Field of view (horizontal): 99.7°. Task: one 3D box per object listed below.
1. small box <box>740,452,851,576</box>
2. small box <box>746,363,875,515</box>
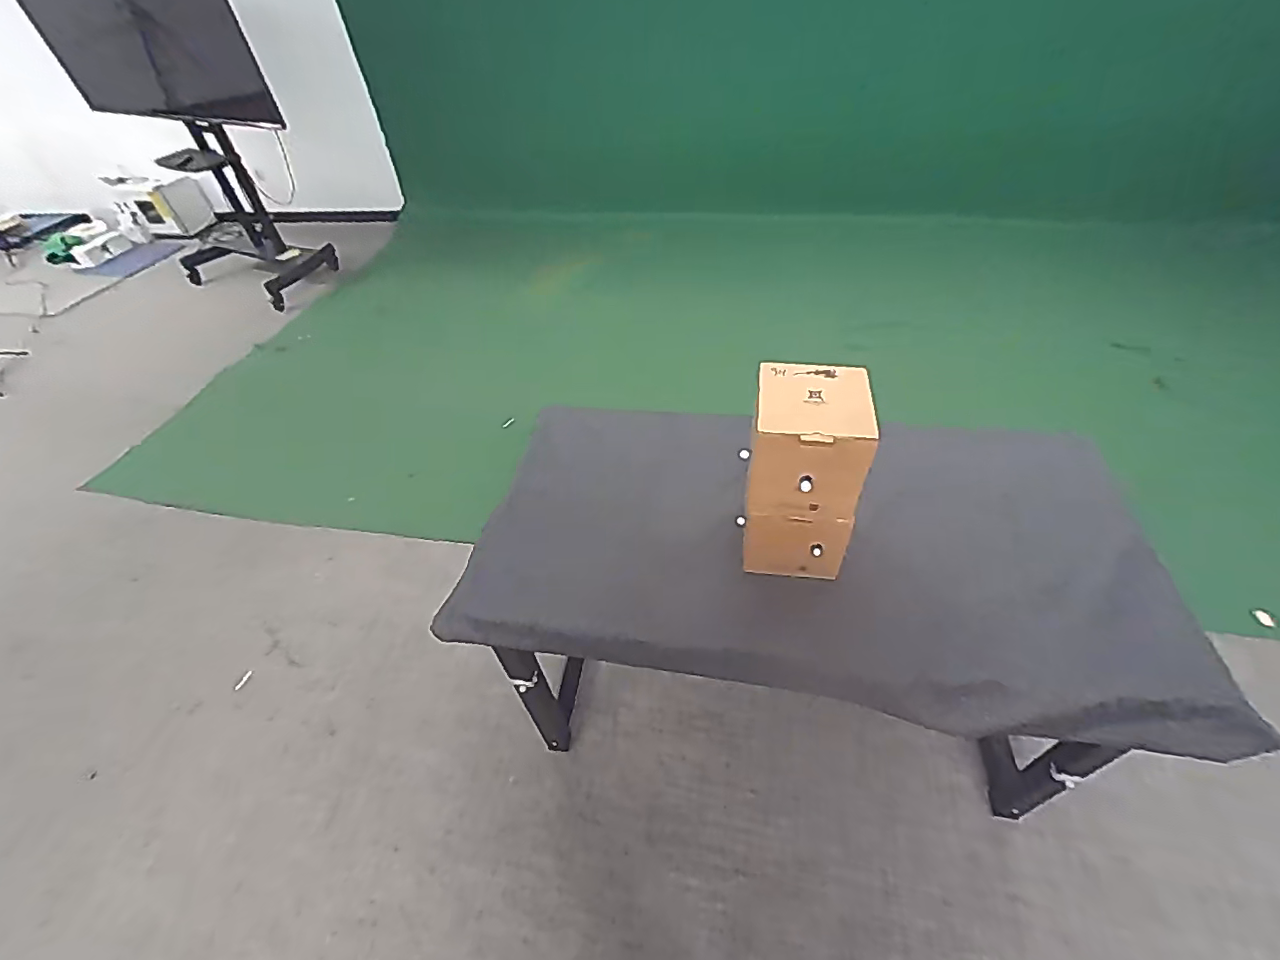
[{"bbox_3d":[0.273,0.054,0.980,0.168,0.176,0.179,5,46,8],"label":"small box"},{"bbox_3d":[0.263,-0.063,0.866,0.168,0.176,0.179,6,48,9],"label":"small box"}]
